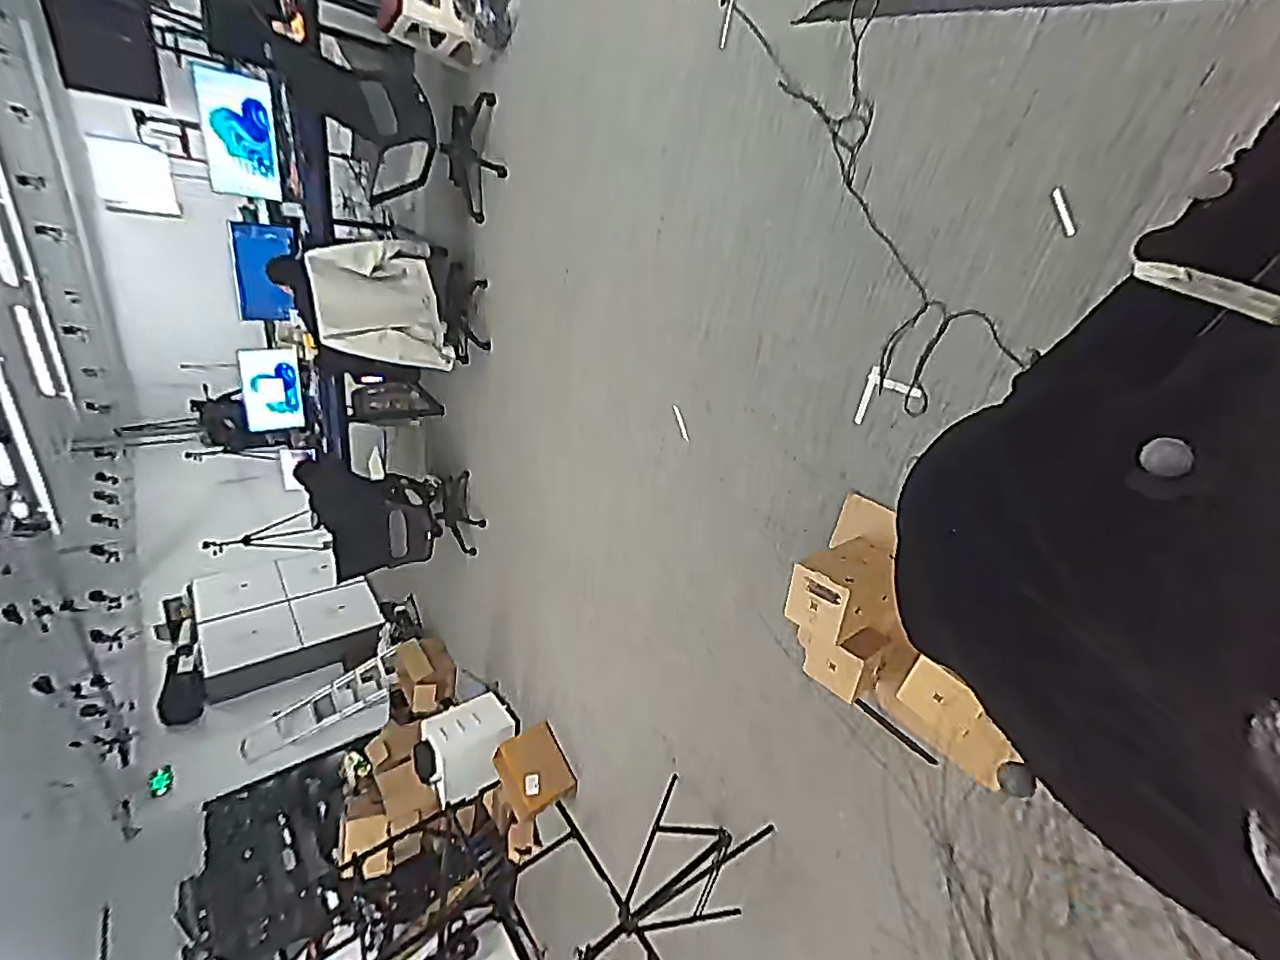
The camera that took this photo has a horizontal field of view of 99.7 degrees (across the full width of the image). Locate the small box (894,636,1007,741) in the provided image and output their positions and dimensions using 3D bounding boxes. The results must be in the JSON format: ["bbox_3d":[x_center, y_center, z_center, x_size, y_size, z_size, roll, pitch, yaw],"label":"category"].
[{"bbox_3d":[0.821,0.539,1.430,0.179,0.176,0.168,38,127,37],"label":"small box"}]

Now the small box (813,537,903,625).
[{"bbox_3d":[0.642,0.286,1.582,0.168,0.176,0.179,30,122,43],"label":"small box"}]

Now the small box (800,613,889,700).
[{"bbox_3d":[0.630,0.532,1.667,0.179,0.176,0.168,29,122,42],"label":"small box"}]
